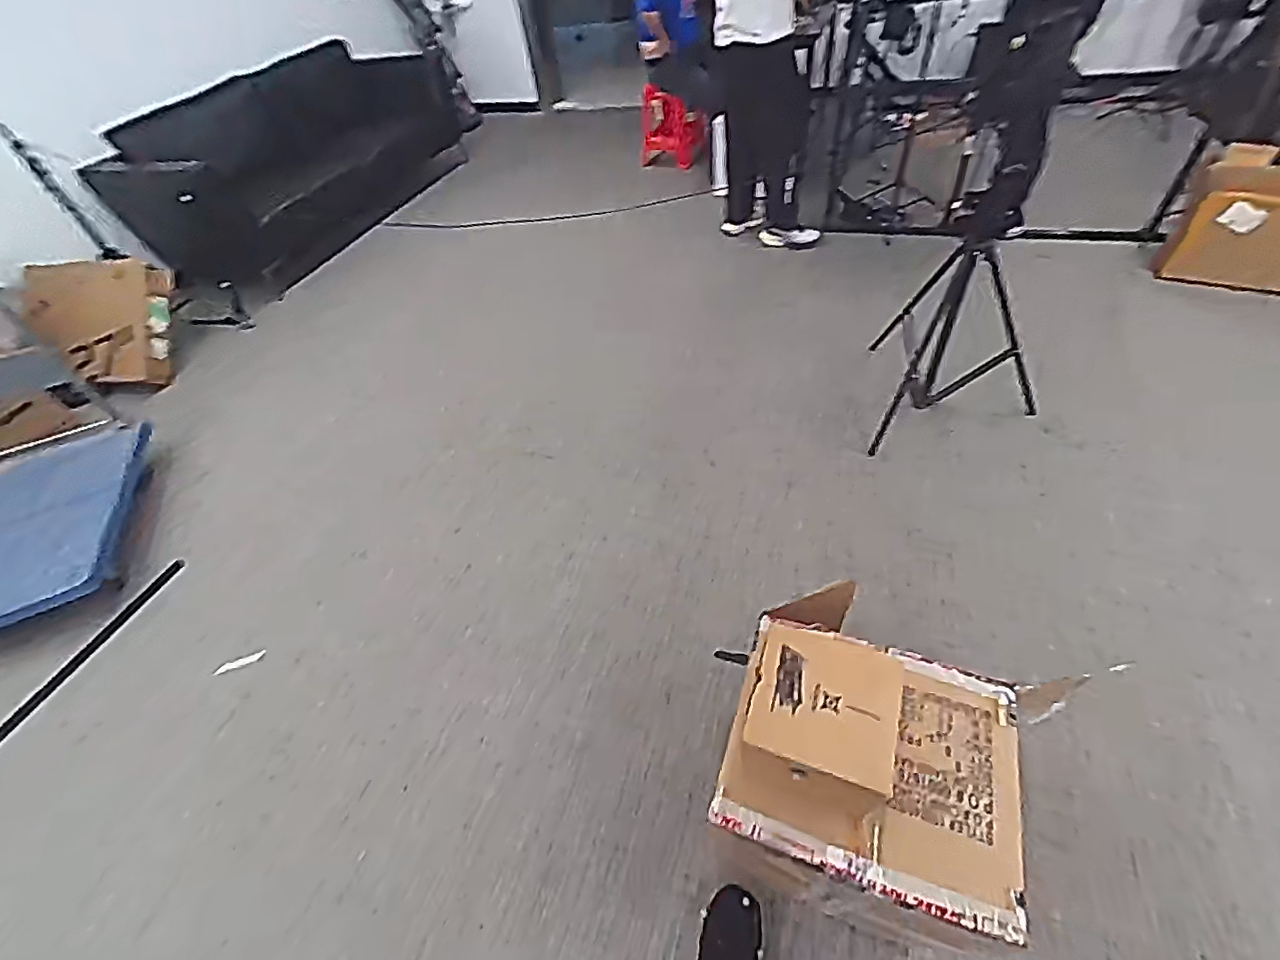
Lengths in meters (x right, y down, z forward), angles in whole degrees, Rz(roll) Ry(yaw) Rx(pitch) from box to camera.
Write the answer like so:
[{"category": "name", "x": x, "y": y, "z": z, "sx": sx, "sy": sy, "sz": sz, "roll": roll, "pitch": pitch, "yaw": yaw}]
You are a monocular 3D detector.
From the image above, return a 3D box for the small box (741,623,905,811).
[{"category": "small box", "x": 0.244, "y": 0.326, "z": 0.742, "sx": 0.179, "sy": 0.176, "sz": 0.168, "roll": 13, "pitch": 54, "yaw": 20}]
